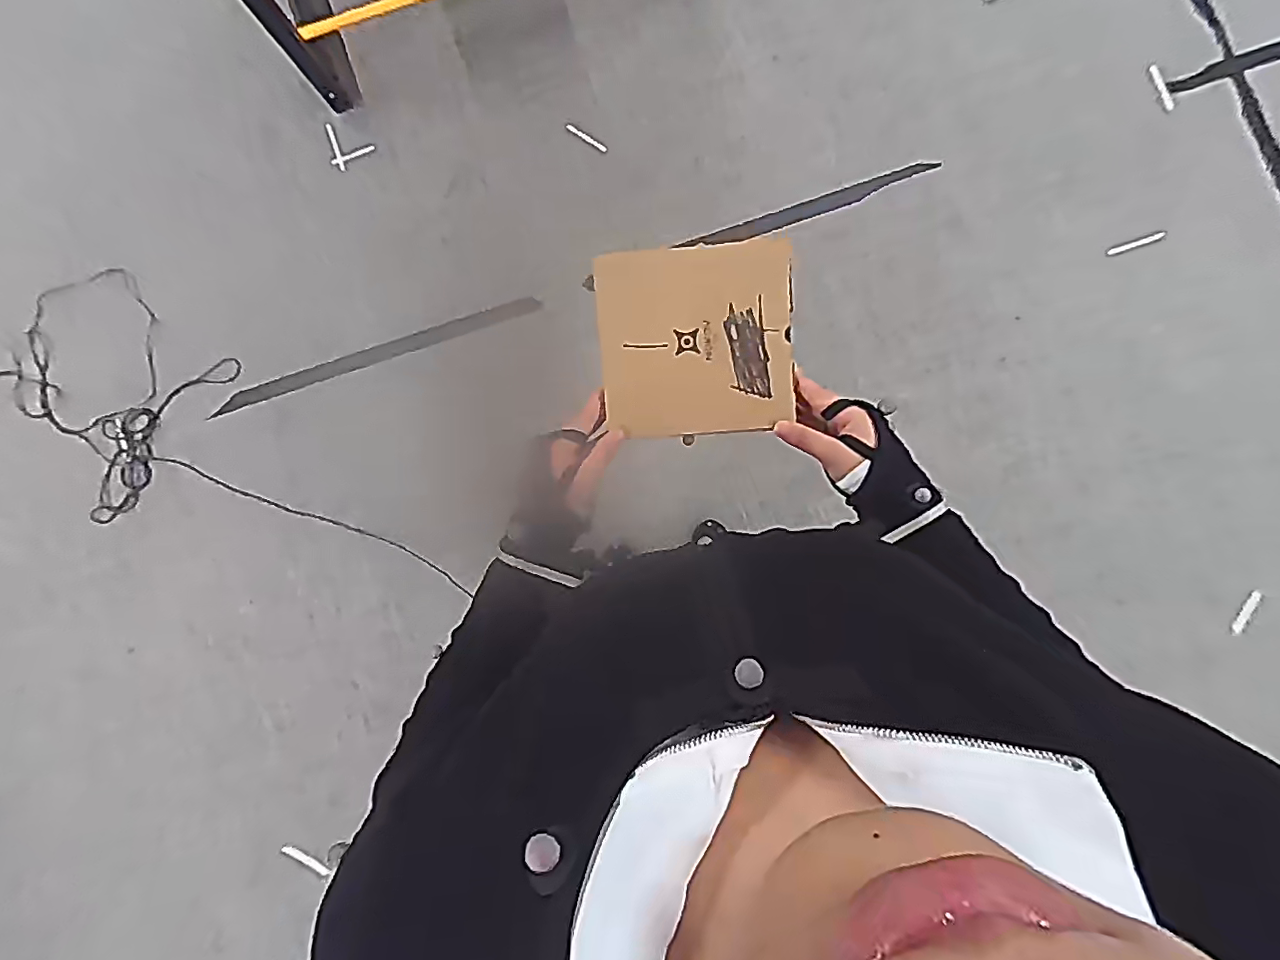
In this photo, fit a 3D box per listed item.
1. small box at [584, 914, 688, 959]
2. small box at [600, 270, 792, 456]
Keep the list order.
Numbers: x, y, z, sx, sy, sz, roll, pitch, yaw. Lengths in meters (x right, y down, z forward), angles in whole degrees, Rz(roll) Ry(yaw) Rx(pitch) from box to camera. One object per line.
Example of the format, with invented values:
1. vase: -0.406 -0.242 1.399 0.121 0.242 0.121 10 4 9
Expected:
1. small box: -0.003 0.900 0.923 0.179 0.176 0.168 -21 85 4
2. small box: 0.055 -0.120 0.584 0.179 0.176 0.168 -4 99 2
